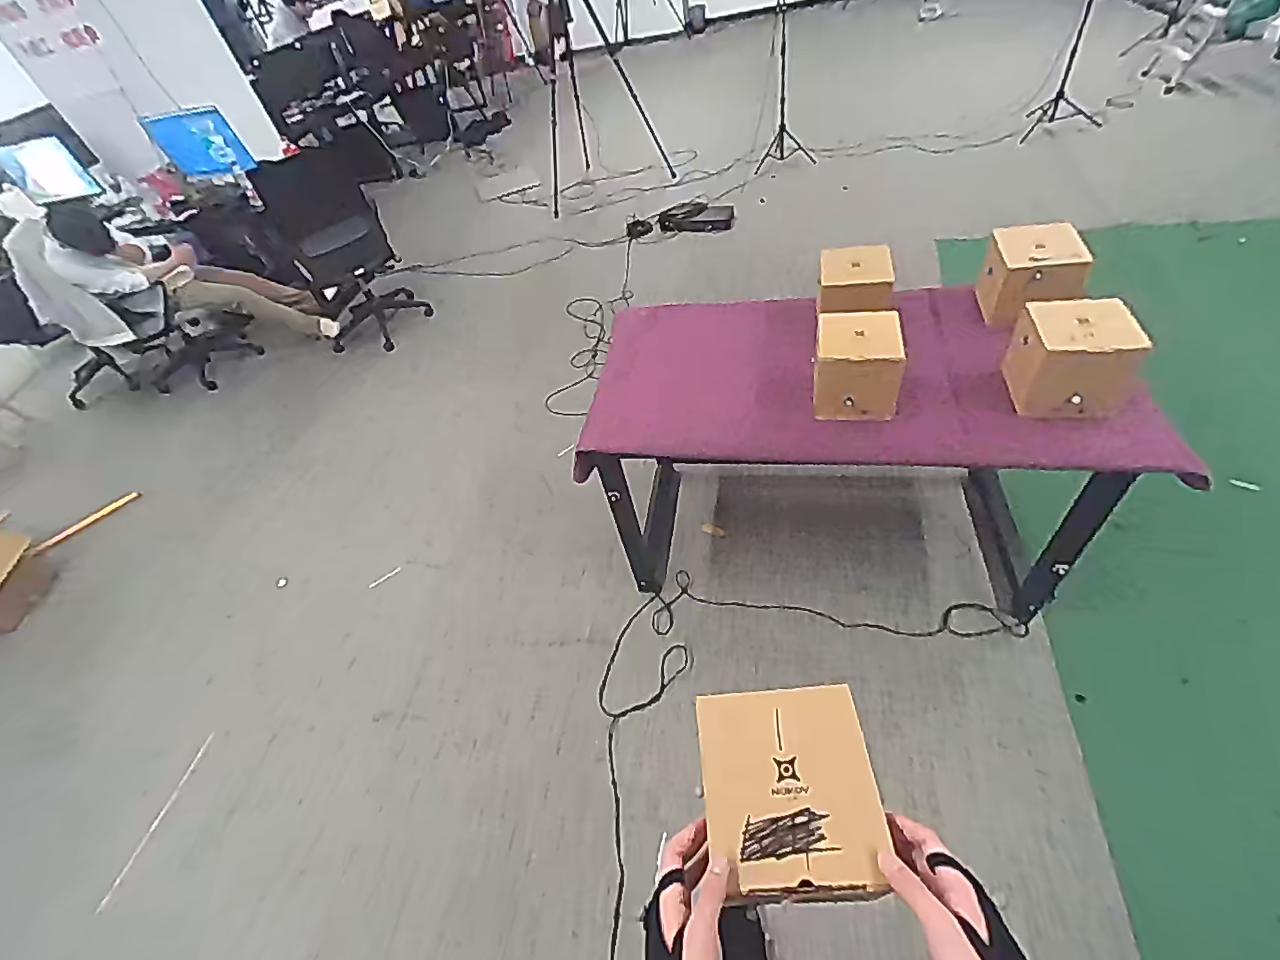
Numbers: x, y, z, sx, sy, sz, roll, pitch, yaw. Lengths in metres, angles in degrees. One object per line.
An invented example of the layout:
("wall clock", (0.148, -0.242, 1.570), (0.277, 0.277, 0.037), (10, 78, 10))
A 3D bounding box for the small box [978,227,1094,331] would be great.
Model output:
("small box", (0.940, -0.481, 1.304), (0.168, 0.176, 0.179), (1, 50, 17))

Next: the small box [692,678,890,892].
("small box", (0.152, 0.338, 0.590), (0.168, 0.176, 0.179), (-7, 48, 7))

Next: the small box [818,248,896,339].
("small box", (0.553, -0.475, 1.395), (0.168, 0.176, 0.179), (3, 51, 16))

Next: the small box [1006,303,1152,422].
("small box", (0.875, -0.240, 1.101), (0.168, 0.176, 0.179), (3, 48, 17))

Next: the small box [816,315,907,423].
("small box", (0.485, -0.249, 1.208), (0.168, 0.176, 0.179), (3, 49, 16))
